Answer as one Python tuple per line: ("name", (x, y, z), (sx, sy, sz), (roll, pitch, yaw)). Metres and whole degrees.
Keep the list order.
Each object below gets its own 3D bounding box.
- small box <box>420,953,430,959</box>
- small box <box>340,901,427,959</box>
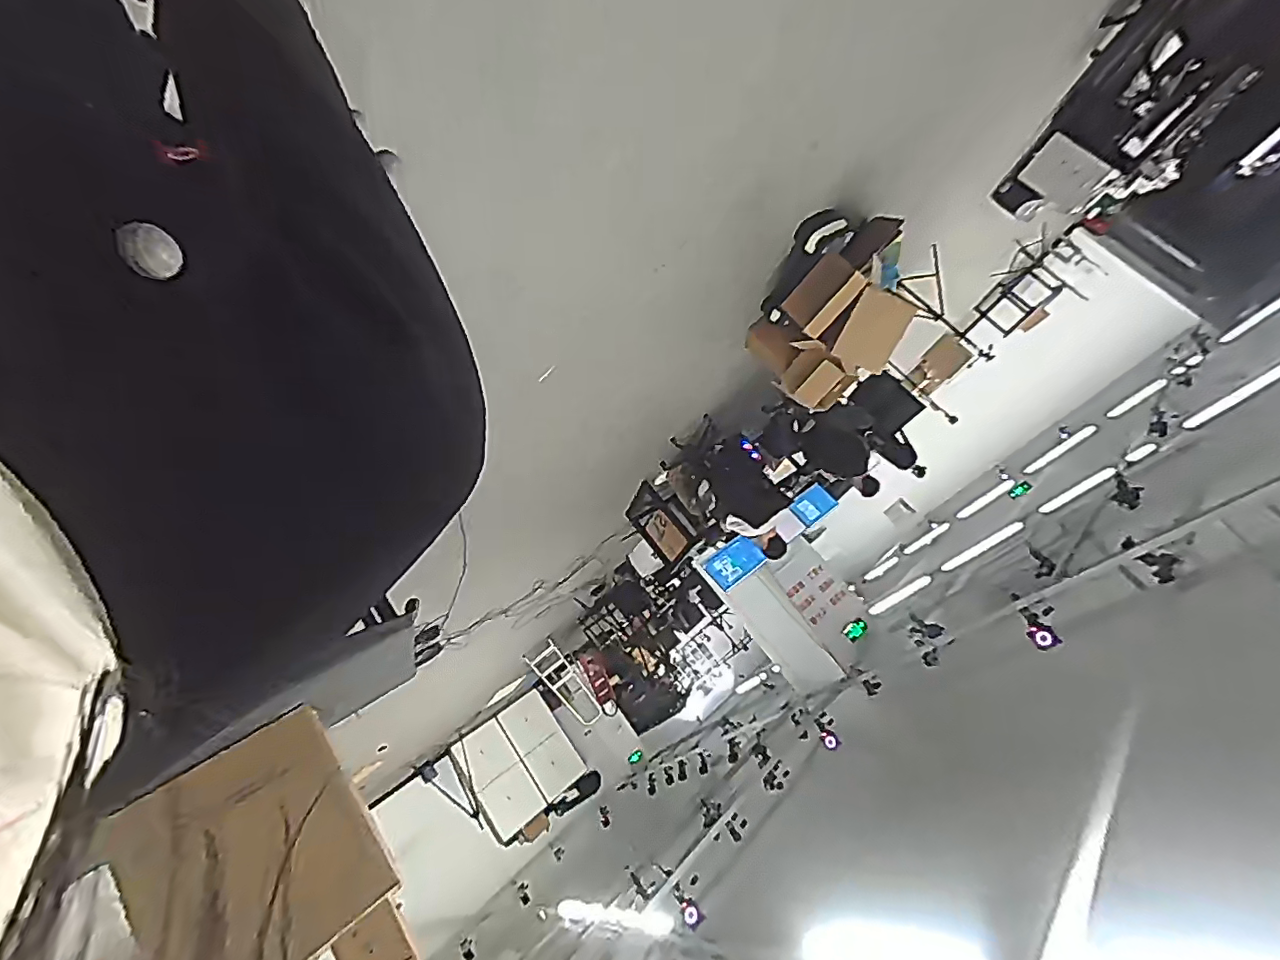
("small box", (-0.633, 1.468, 1.502), (0.168, 0.176, 0.179), (-29, 158, -34))
("small box", (-0.738, 1.358, 1.559), (0.168, 0.176, 0.179), (-30, 157, -33))
